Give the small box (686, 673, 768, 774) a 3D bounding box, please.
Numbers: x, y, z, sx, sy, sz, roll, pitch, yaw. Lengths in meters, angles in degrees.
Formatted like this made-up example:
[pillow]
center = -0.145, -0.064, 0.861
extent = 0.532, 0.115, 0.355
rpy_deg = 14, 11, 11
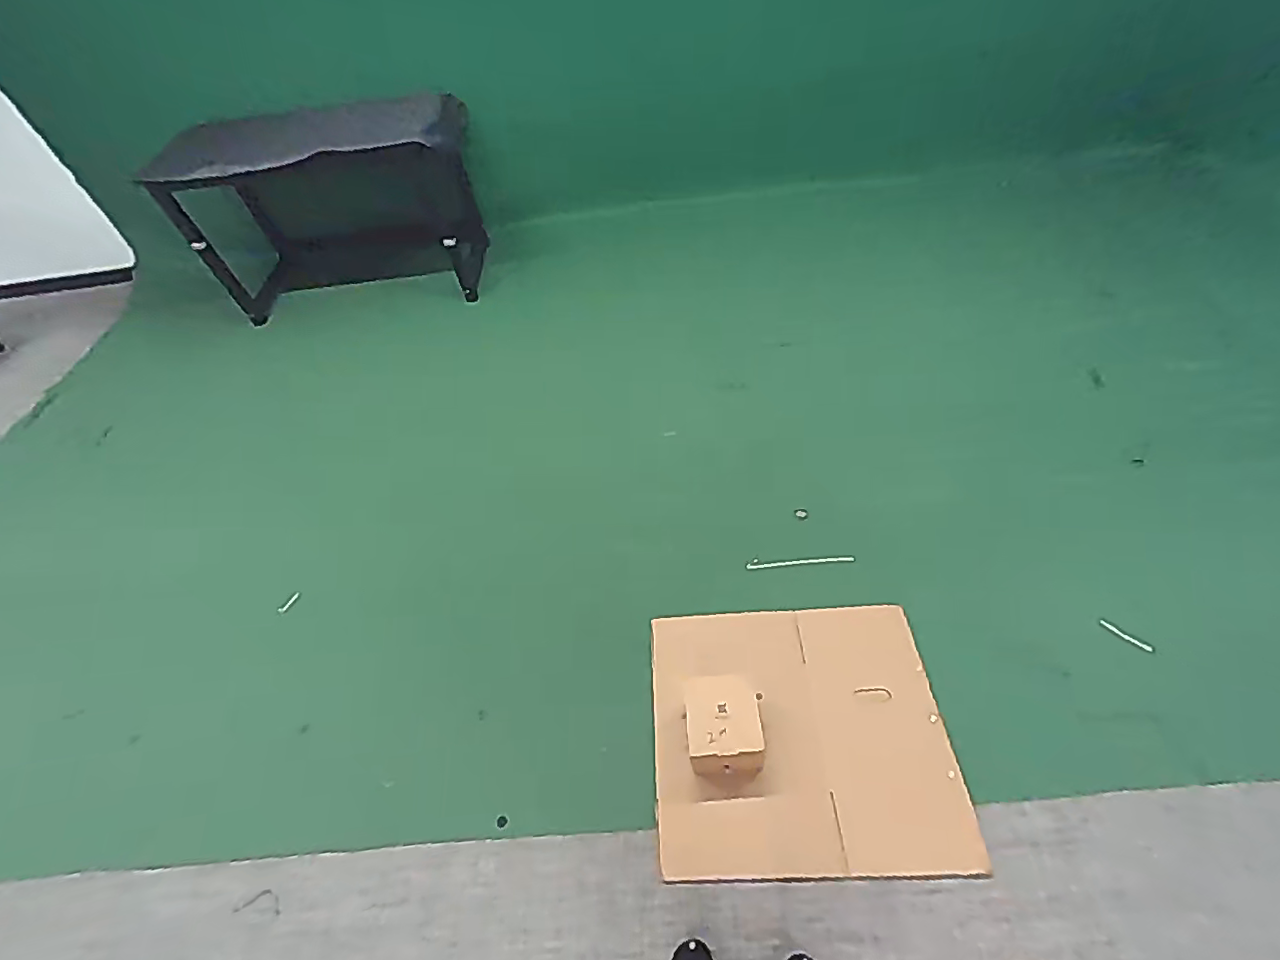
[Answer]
[small box]
center = 0.200, 0.574, 1.273
extent = 0.168, 0.176, 0.179
rpy_deg = -7, 50, 5
